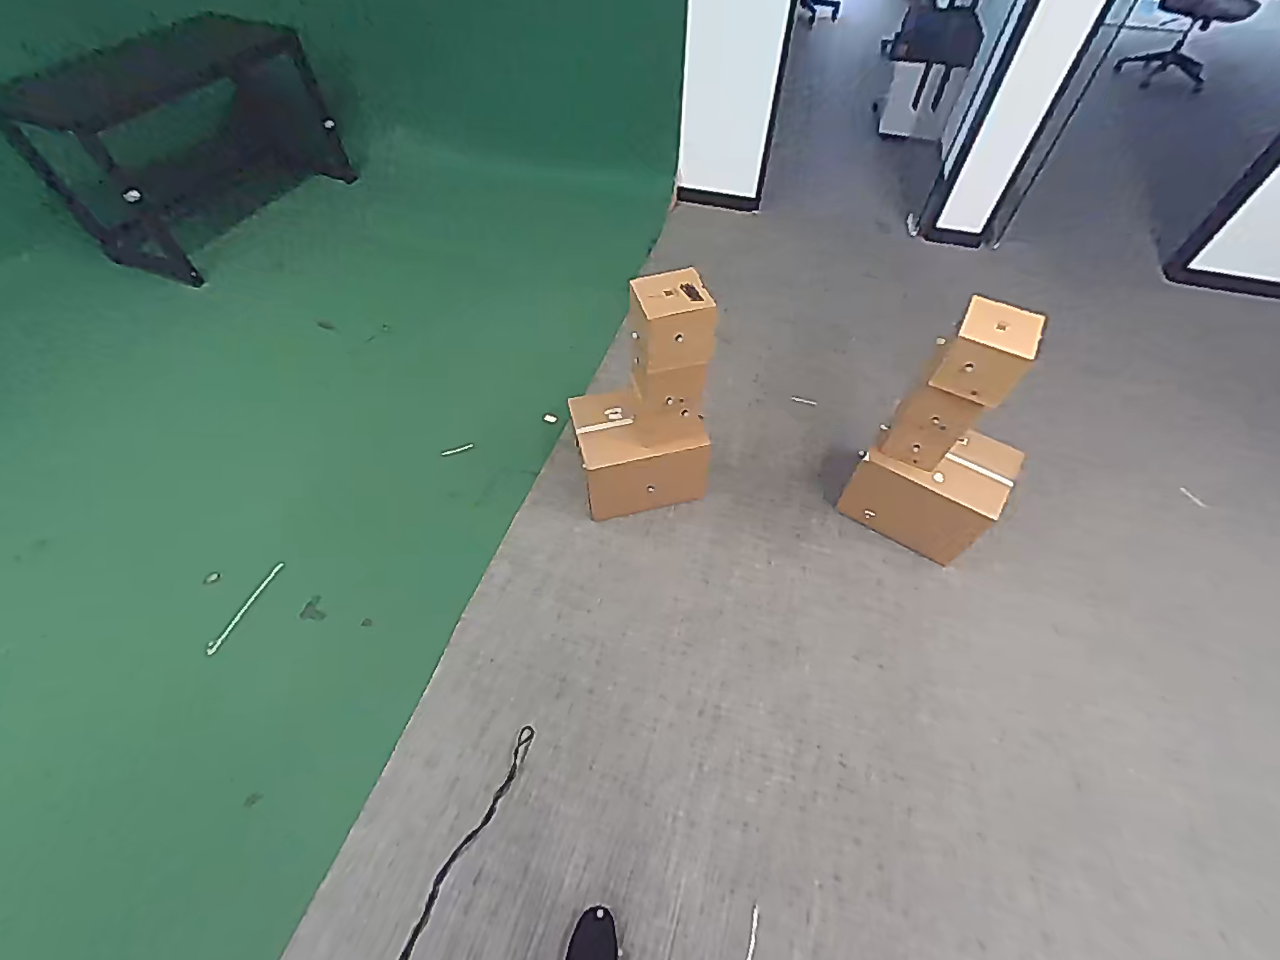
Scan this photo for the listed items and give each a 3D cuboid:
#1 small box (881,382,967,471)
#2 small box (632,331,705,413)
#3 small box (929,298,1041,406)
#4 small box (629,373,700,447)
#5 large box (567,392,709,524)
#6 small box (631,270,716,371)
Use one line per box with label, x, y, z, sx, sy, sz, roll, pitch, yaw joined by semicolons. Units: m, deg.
small box;0.847;-0.157;1.627;0.168;0.176;0.179;24;58;15
small box;0.074;-0.316;1.531;0.168;0.176;0.179;-12;56;-8
small box;0.845;-0.312;1.337;0.168;0.176;0.179;26;58;17
small box;0.069;-0.227;1.667;0.179;0.176;0.168;-13;55;-10
large box;-0.011;-0.090;1.871;0.408;0.320;0.320;-13;54;-9
small box;0.079;-0.409;1.397;0.179;0.176;0.168;-14;55;-8
